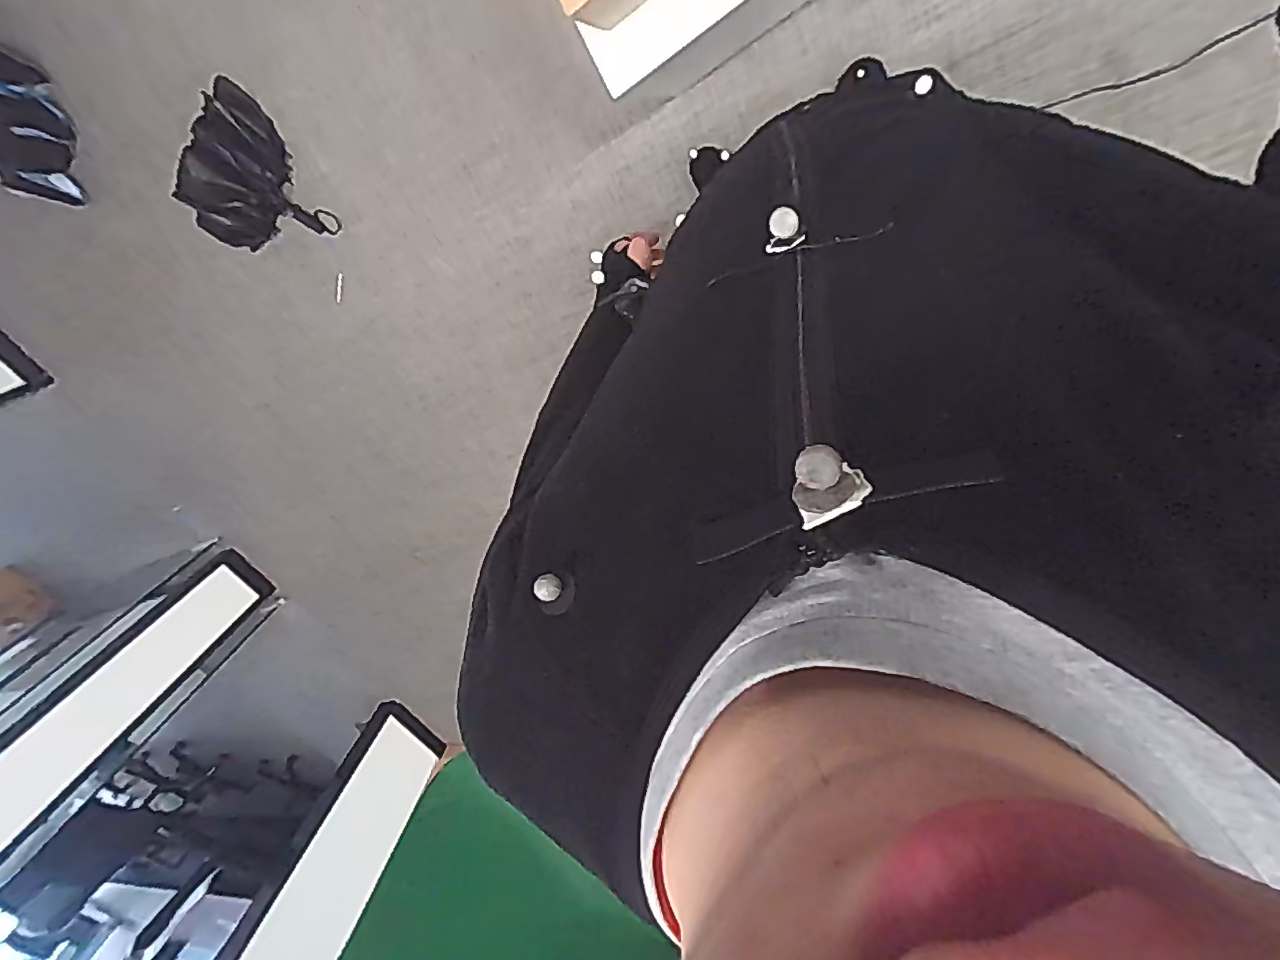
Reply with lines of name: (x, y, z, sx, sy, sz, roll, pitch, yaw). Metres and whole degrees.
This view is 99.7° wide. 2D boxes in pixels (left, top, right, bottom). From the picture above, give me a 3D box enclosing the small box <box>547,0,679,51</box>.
small box: (-0.036, -0.610, 0.581, 0.168, 0.176, 0.179, -21, 115, 25)
